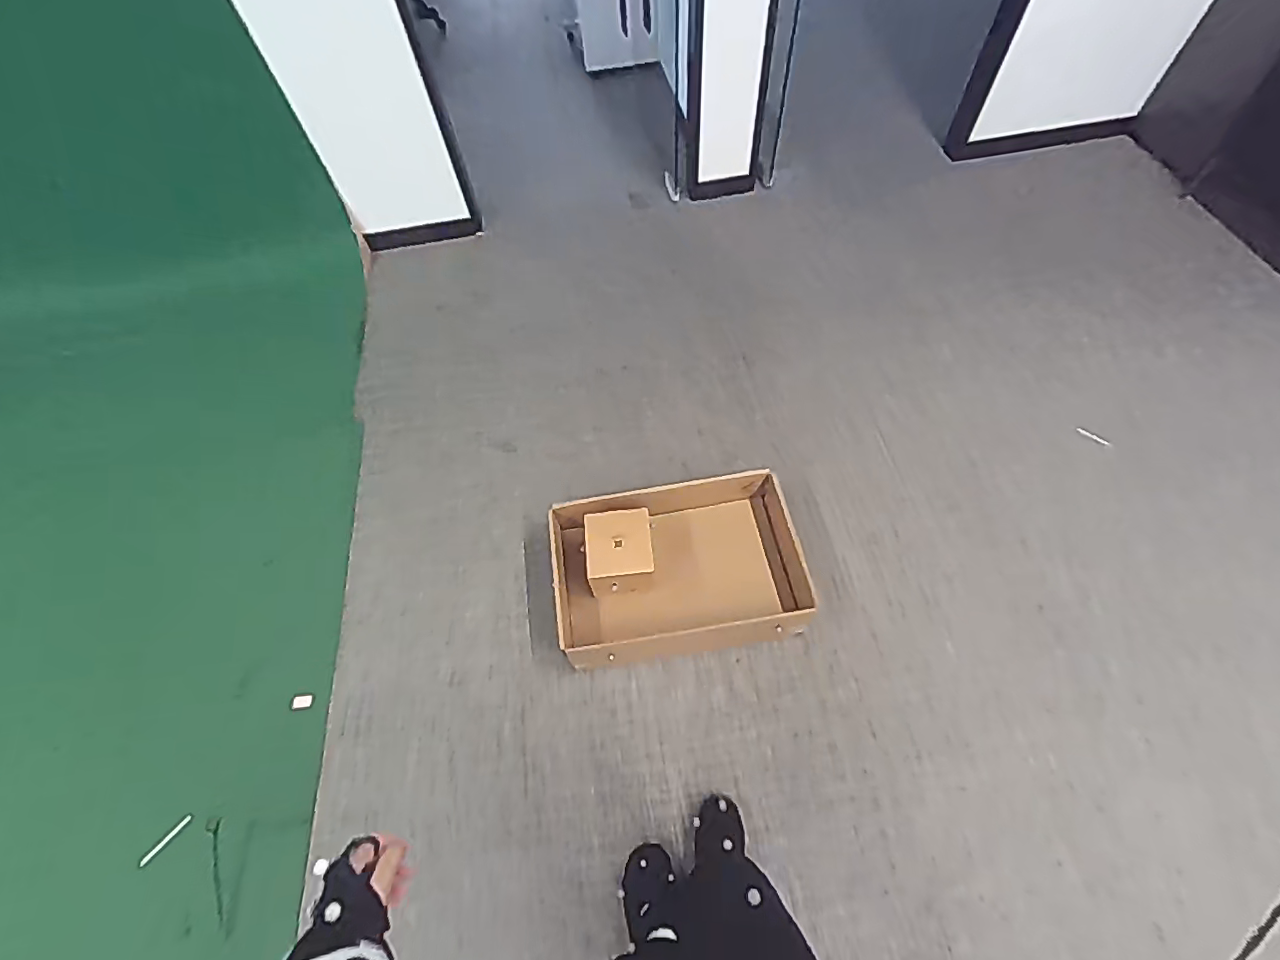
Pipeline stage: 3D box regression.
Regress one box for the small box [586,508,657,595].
[{"bbox_3d":[-0.046,0.194,1.414,0.168,0.176,0.179,-6,60,0],"label":"small box"}]
